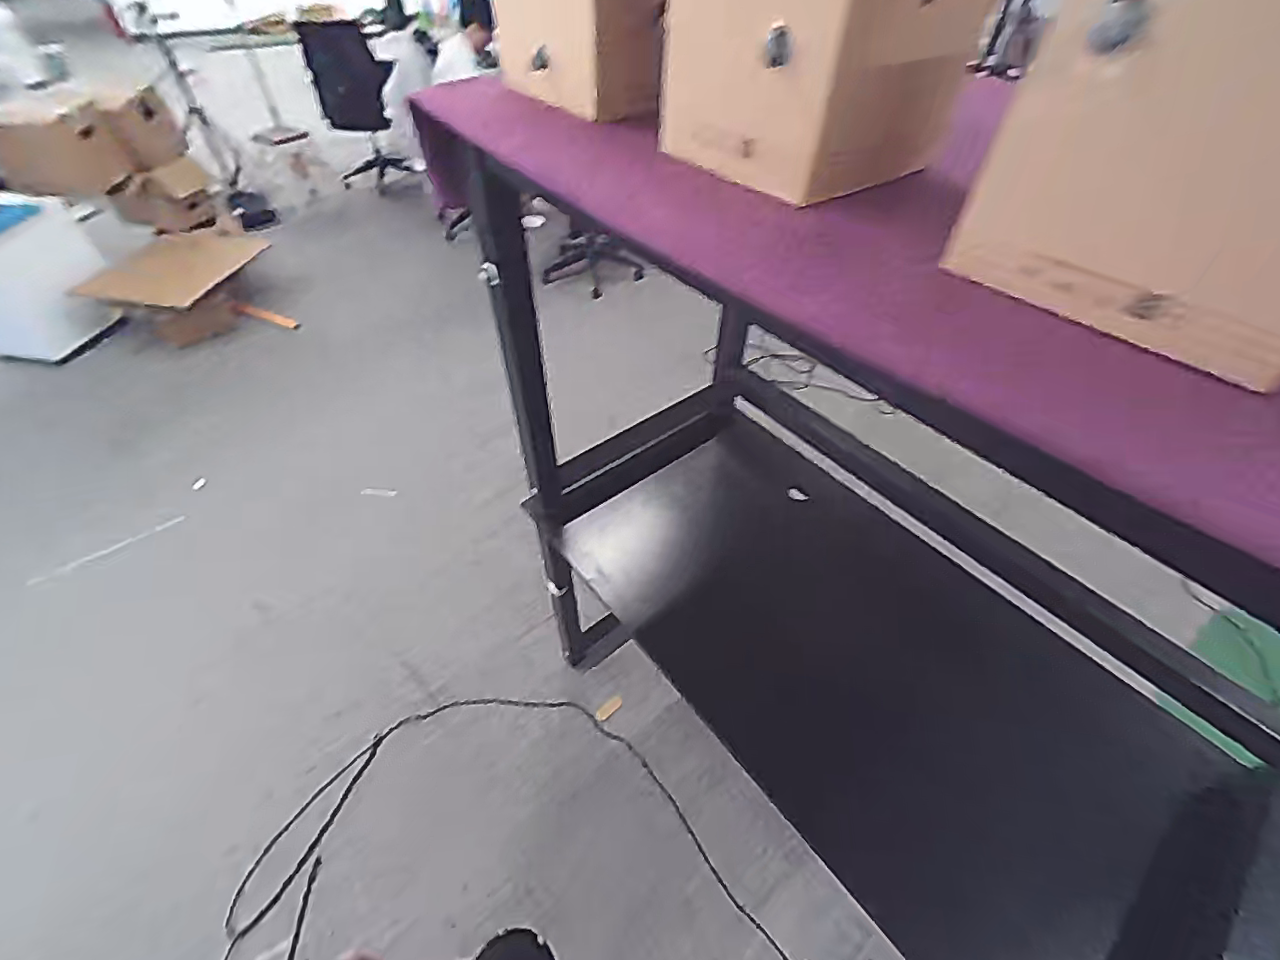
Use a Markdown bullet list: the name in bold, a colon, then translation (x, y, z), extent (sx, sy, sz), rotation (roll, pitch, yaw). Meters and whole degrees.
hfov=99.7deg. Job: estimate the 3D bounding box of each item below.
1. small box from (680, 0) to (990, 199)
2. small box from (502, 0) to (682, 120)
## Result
- **small box**: translation (0.144, -0.337, 0.420), extent (0.179, 0.176, 0.168), rotation (-27, 53, -26)
- **small box**: translation (-0.030, -0.493, 0.561), extent (0.168, 0.176, 0.179), rotation (-31, 56, -28)
